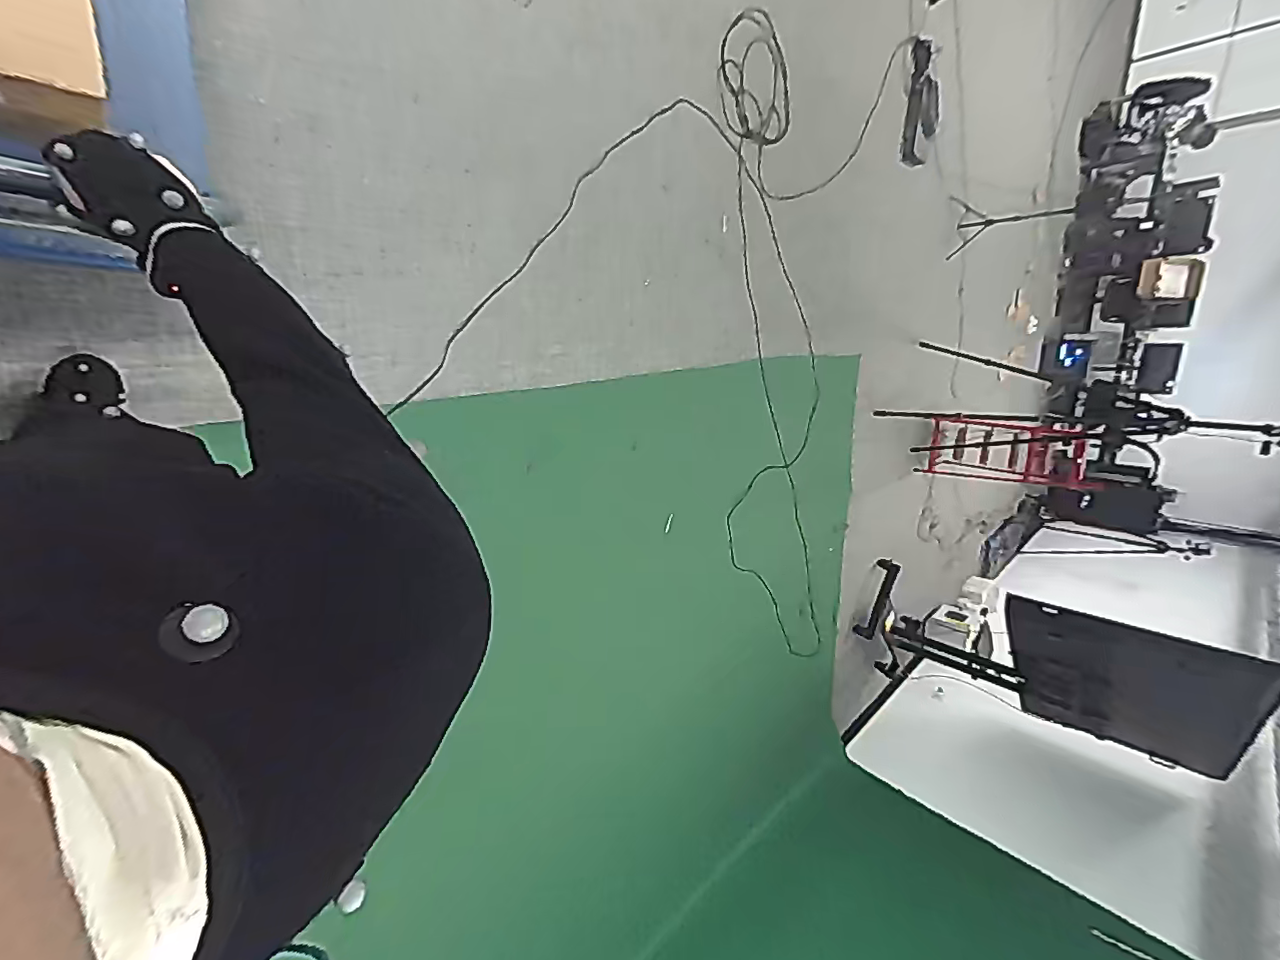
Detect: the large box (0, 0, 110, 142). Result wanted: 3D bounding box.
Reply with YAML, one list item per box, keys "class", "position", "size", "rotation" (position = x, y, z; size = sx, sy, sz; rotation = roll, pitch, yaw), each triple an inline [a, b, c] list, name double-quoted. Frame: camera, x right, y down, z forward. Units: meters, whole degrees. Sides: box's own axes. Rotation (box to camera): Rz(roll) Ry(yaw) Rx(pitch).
- class: "large box"
  position: [-0.974, -0.749, 0.729]
  size: [0.320, 0.320, 0.408]
  rotation: [-11, 107, -42]
